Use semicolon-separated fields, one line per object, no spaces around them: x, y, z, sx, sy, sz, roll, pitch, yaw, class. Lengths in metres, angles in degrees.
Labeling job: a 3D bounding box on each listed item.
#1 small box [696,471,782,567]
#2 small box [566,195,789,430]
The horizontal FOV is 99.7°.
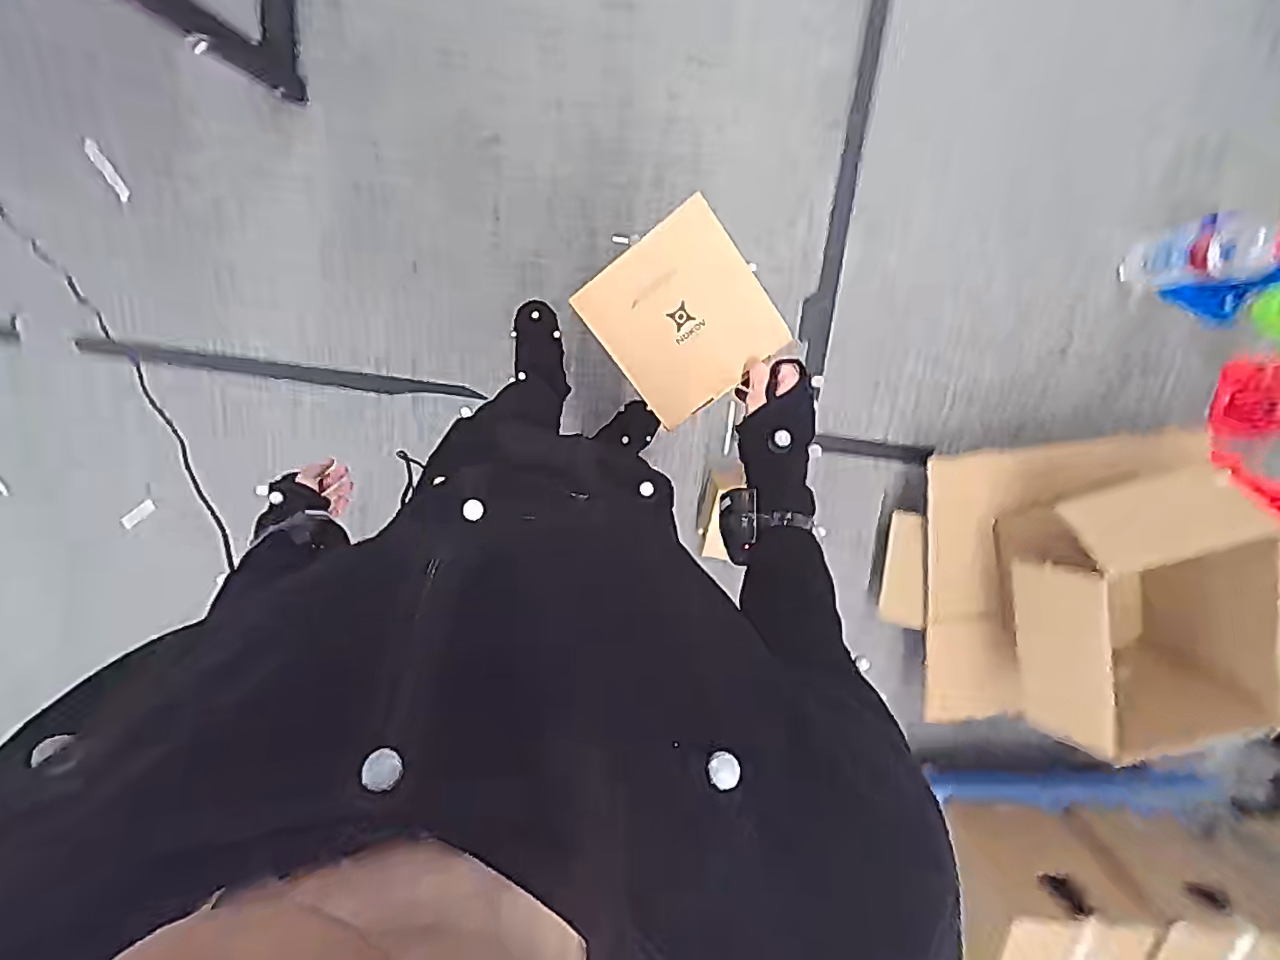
0.241;0.093;1.368;0.168;0.176;0.179;11;106;-3;small box
0.039;-0.189;0.627;0.168;0.176;0.179;-38;104;10;small box
